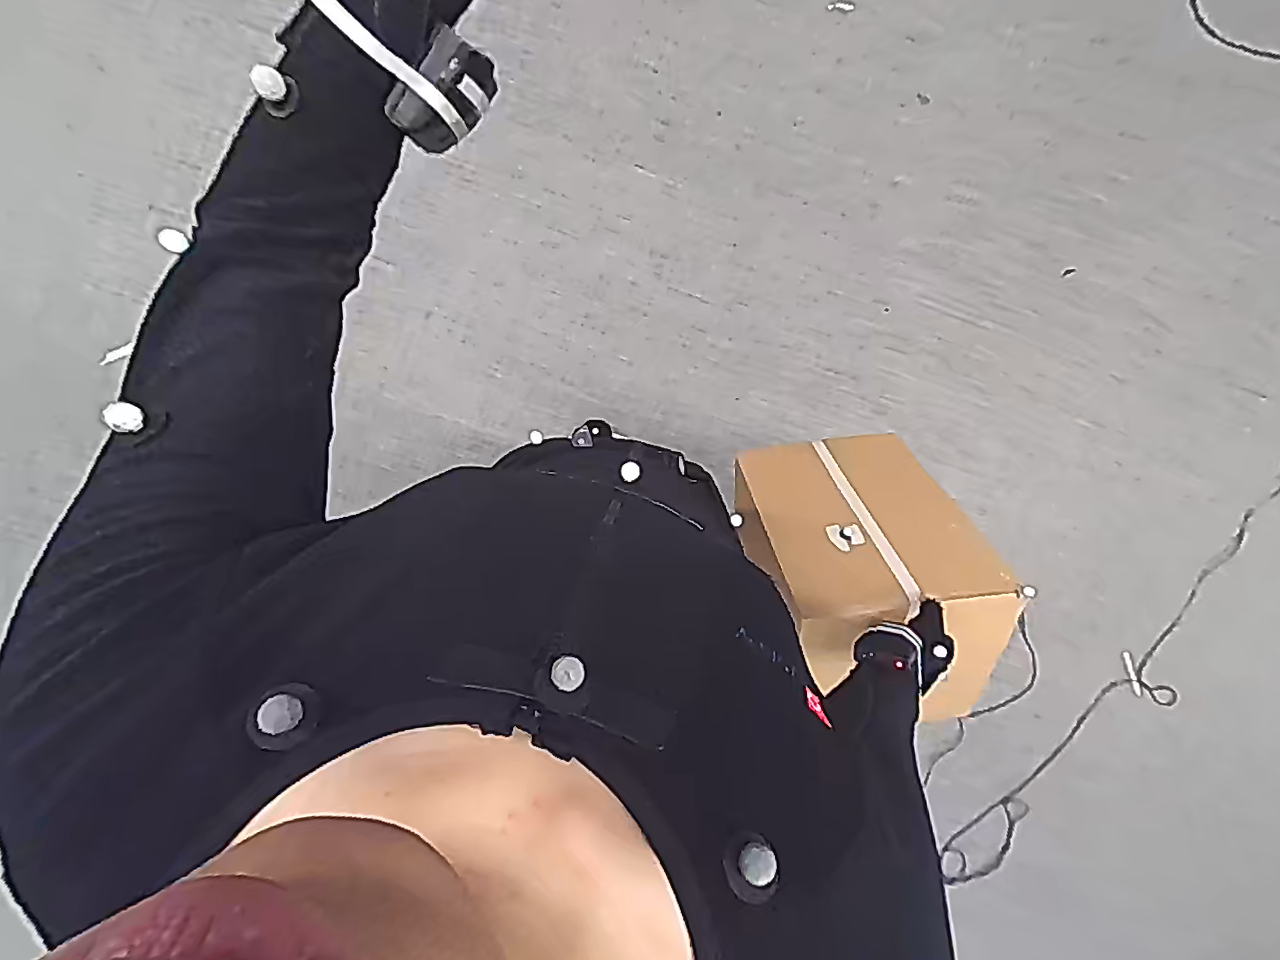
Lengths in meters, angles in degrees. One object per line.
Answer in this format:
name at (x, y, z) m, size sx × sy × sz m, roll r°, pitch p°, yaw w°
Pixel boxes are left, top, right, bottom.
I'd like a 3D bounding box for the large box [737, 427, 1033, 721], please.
large box at (0.373, 0.152, 0.968) m, size 0.320 × 0.408 × 0.320 m, roll -7°, pitch 129°, yaw 0°
